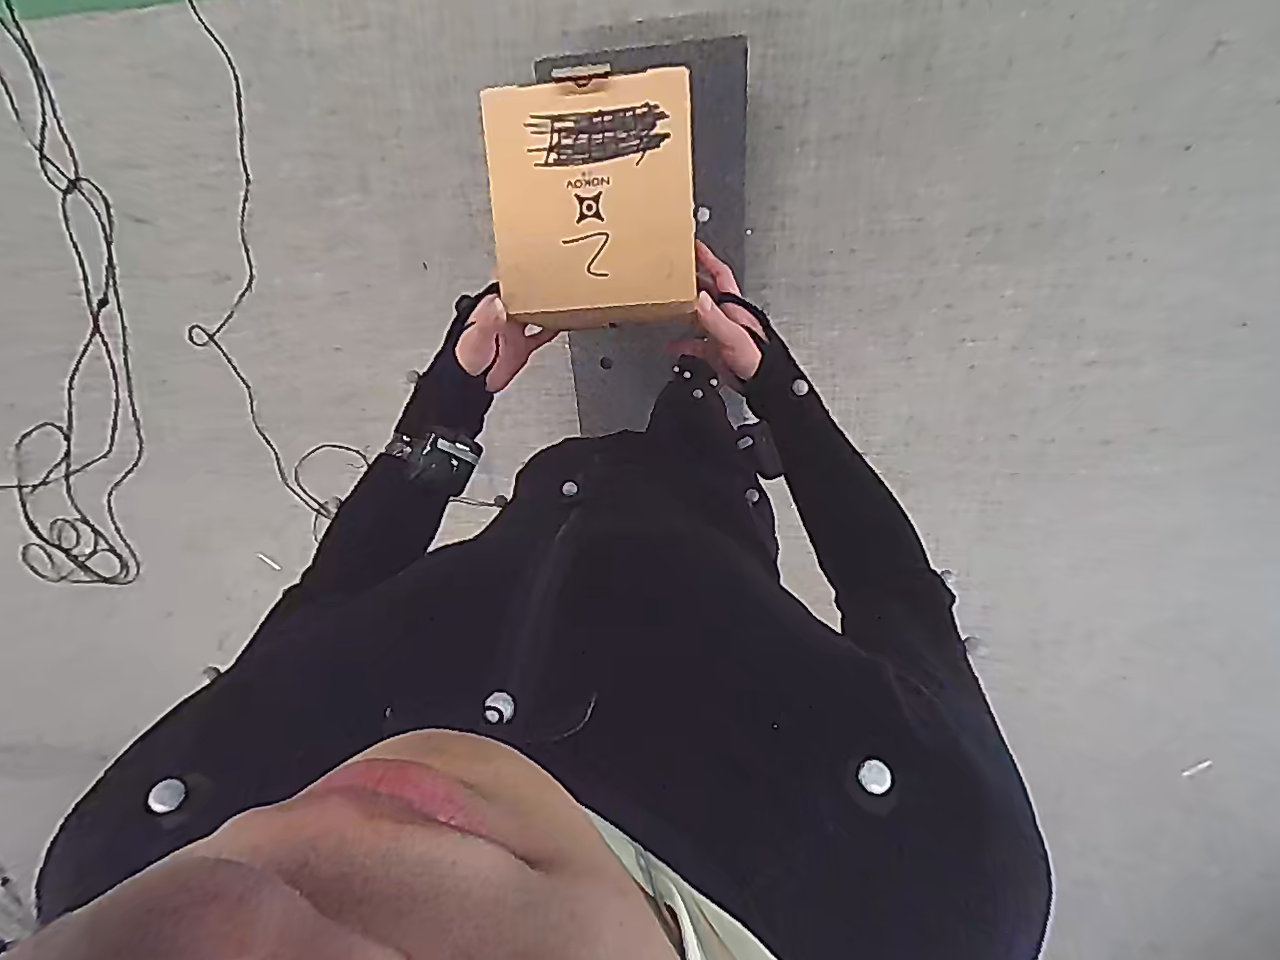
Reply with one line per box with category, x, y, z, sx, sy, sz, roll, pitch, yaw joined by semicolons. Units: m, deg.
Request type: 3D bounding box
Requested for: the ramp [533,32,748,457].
ramp;0.034;-0.523;1.421;0.509;0.206;0.991;-3;106;7
